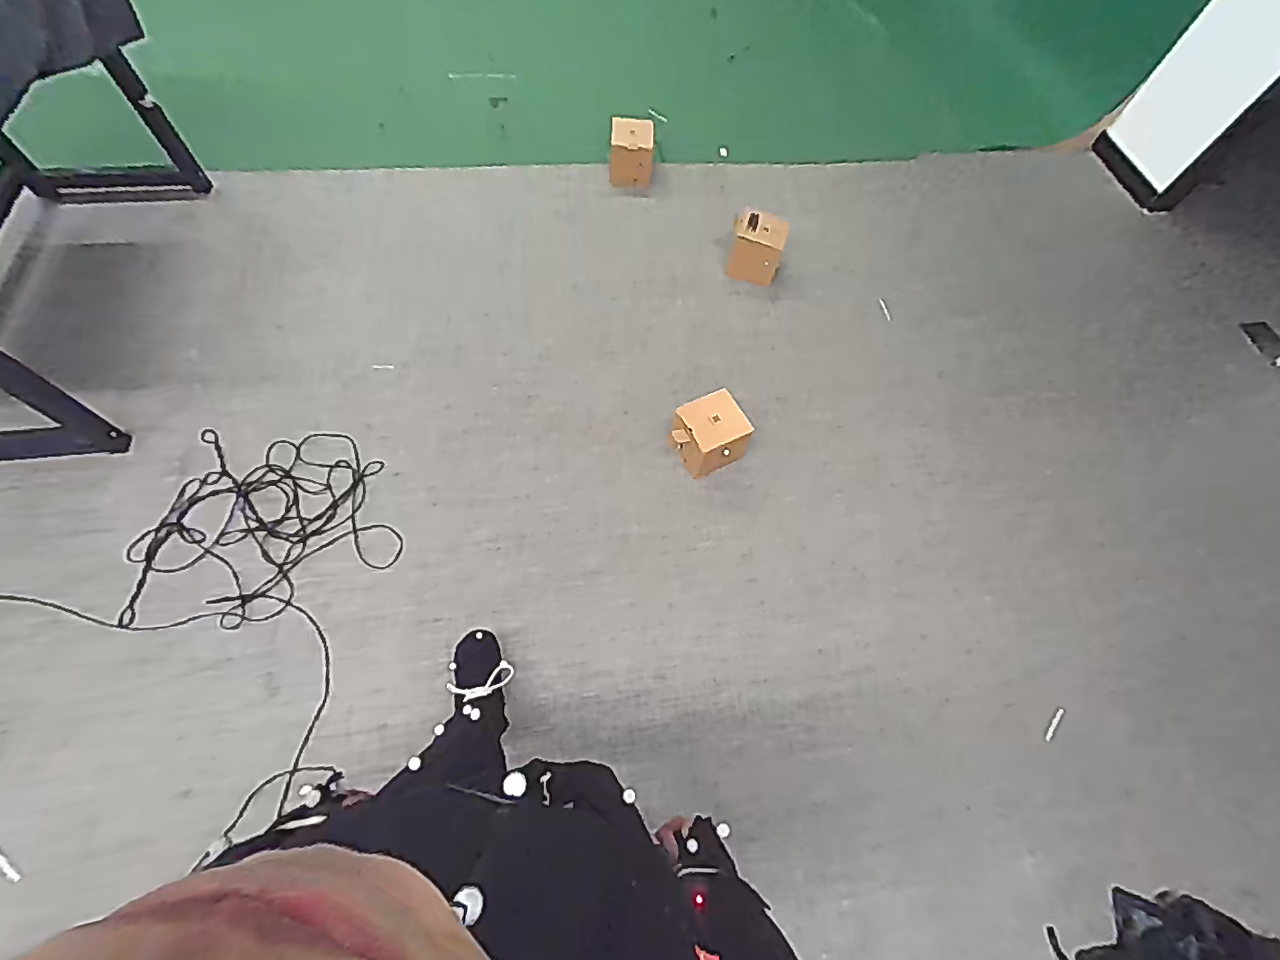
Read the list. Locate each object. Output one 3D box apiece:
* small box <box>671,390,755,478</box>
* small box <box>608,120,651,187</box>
[{"bbox_3d":[0.209,-0.133,1.613,0.179,0.176,0.168,-25,68,-15],"label":"small box"},{"bbox_3d":[-0.043,-1.316,2.186,0.168,0.176,0.179,2,63,-5],"label":"small box"}]
